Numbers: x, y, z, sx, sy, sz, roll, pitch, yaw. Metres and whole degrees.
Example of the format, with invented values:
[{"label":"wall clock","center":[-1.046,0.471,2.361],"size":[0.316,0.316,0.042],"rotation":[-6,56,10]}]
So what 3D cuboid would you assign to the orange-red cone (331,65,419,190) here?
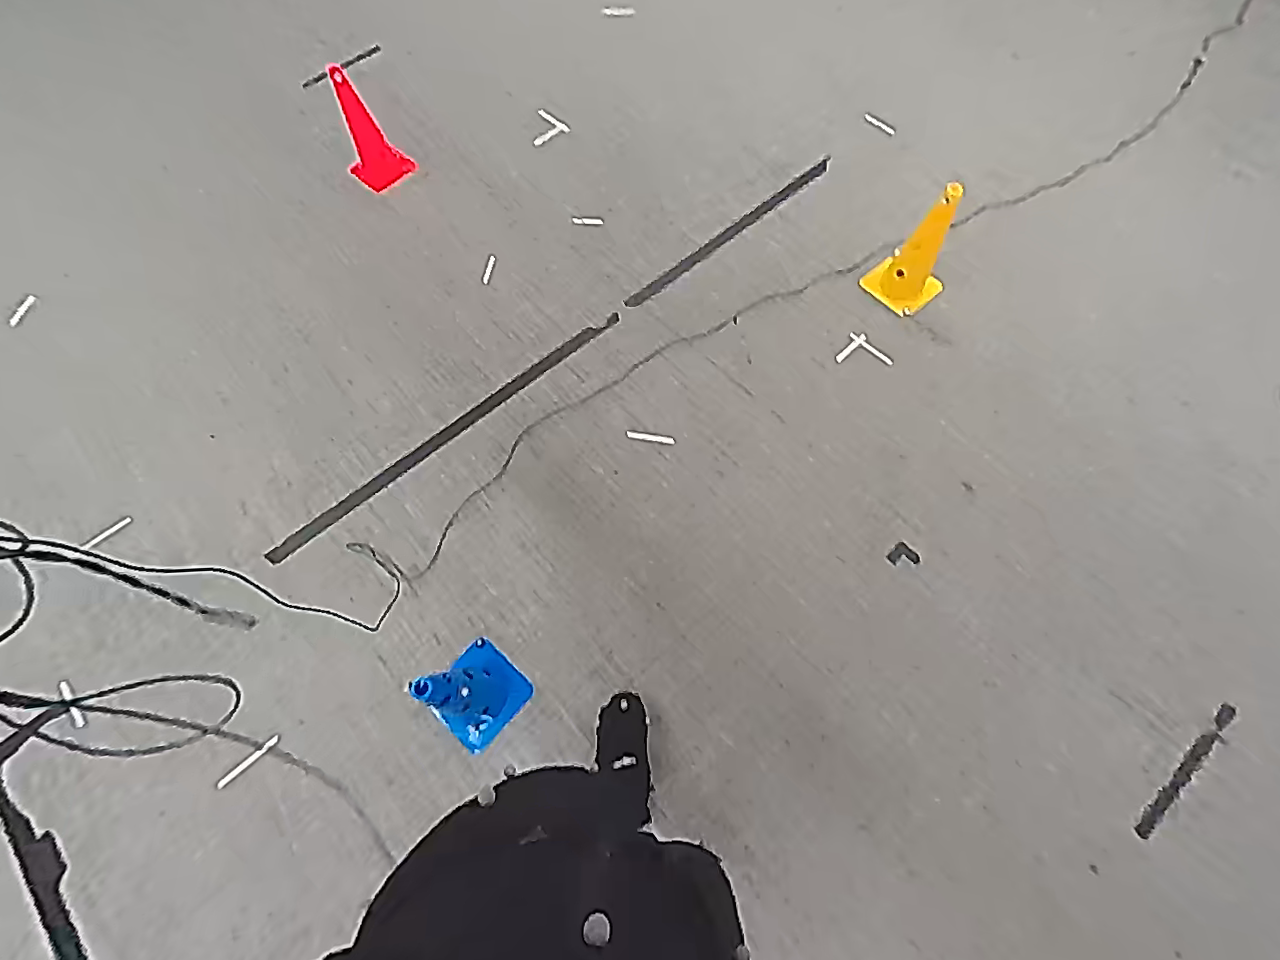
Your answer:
[{"label":"orange-red cone","center":[-0.979,-1.266,1.915],"size":[0.198,0.360,0.199],"rotation":[41,75,18]}]

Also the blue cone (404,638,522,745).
[{"label":"blue cone","center":[-0.403,0.443,1.152],"size":[0.192,0.380,0.193],"rotation":[40,73,17]}]
